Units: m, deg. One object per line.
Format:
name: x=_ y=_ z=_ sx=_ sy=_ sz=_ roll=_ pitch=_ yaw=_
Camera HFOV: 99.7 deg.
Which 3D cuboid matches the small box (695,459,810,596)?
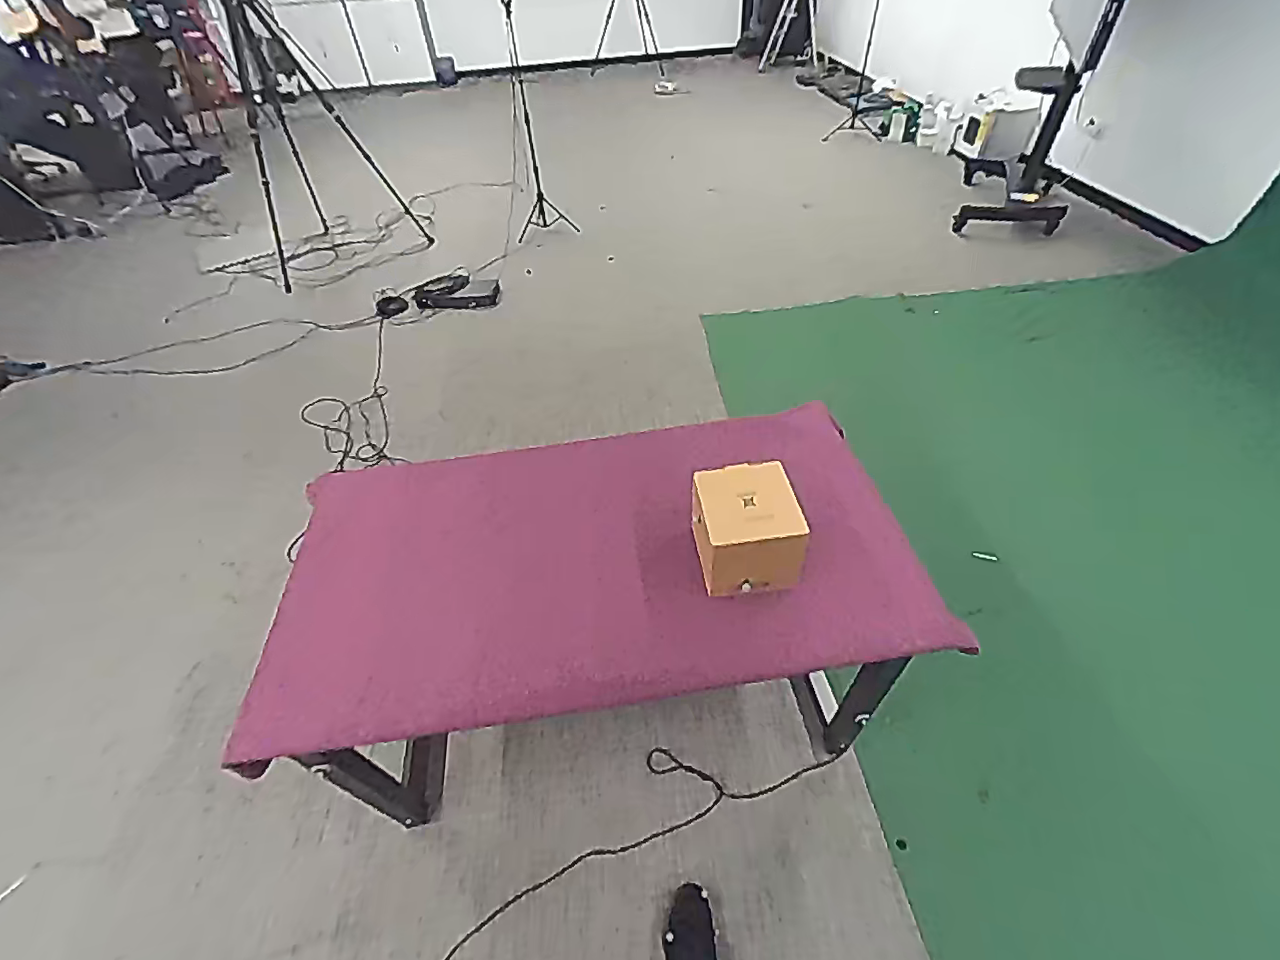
small box: x=0.194 y=0.088 z=0.992 sx=0.168 sy=0.176 sz=0.179 roll=-8 pitch=46 yaw=-1
